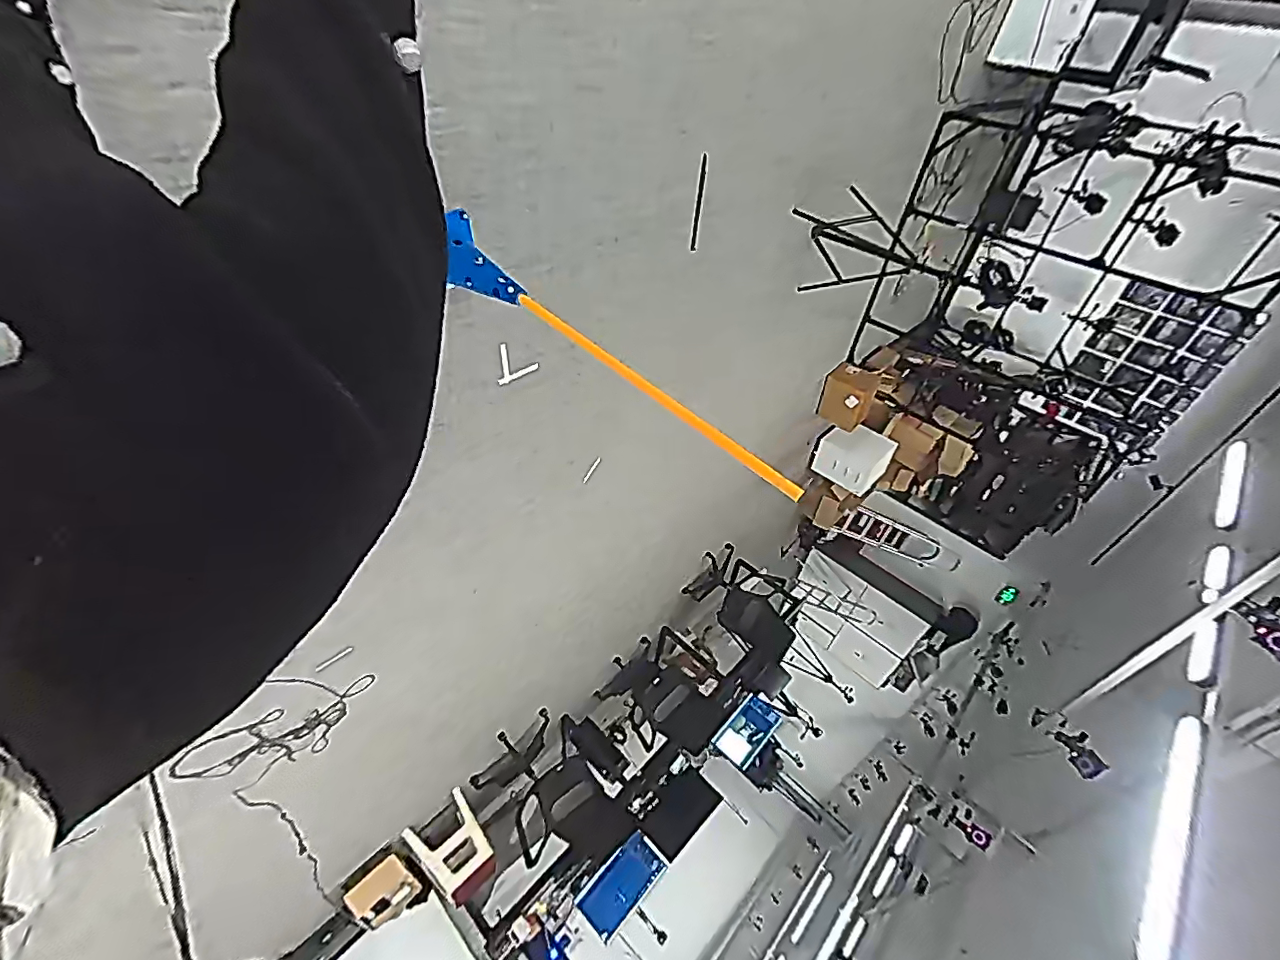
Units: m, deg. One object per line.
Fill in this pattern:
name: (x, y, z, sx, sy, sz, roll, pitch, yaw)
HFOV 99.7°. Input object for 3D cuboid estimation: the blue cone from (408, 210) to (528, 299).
blue cone: (-0.424, -0.552, 1.429, 0.193, 0.380, 0.192, -36, 146, -32)
